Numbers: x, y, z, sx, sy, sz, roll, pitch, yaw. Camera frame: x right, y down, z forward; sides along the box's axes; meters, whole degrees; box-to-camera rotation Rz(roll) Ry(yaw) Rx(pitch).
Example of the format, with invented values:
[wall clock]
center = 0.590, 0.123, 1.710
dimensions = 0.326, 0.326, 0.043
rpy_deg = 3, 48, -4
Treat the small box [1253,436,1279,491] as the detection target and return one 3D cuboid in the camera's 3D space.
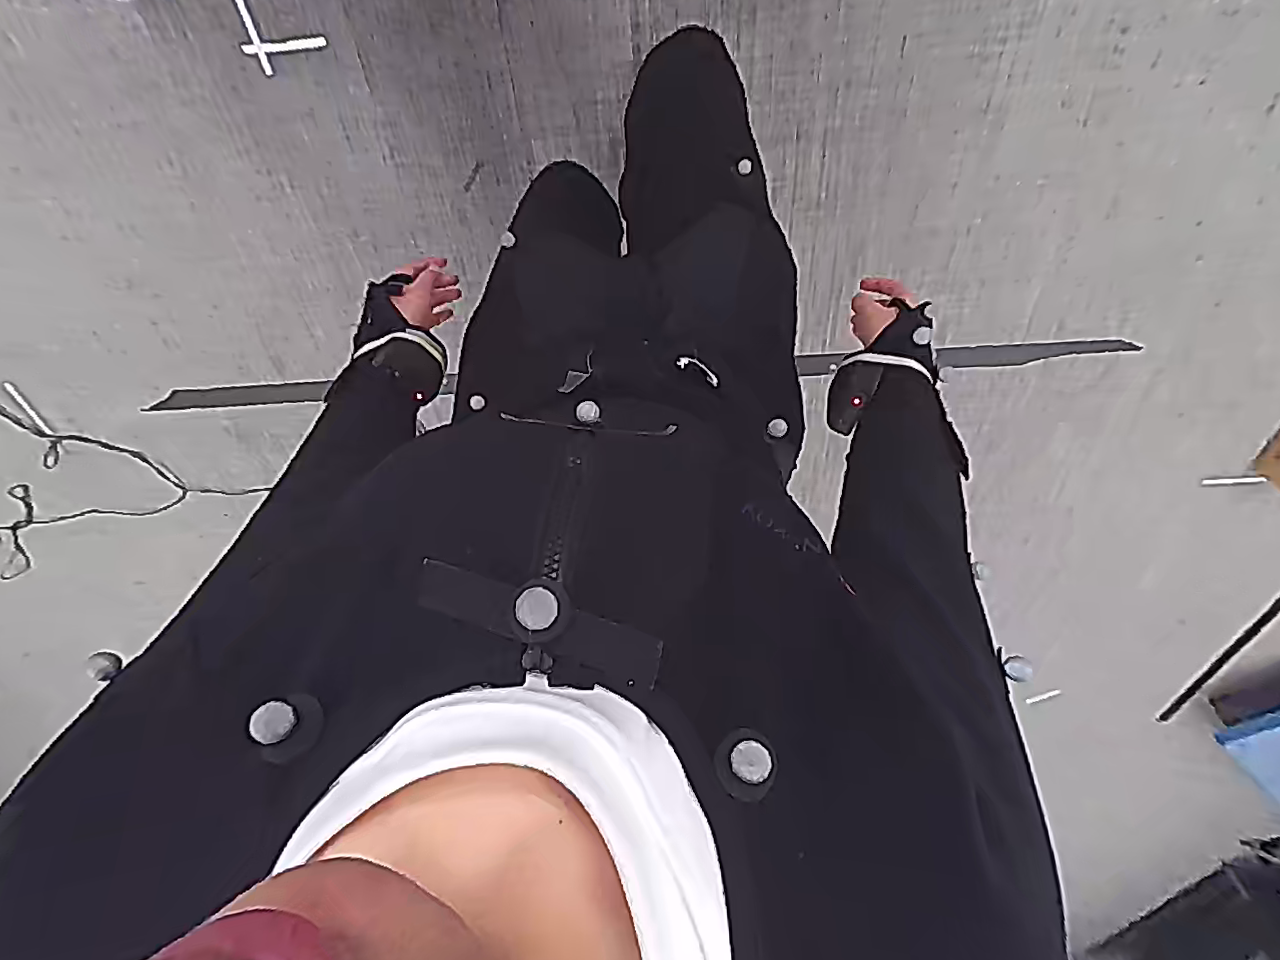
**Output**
[small box]
center = 1.602, -0.038, 1.231
dimensions = 0.179, 0.176, 0.168
rpy_deg = -3, 129, 3
